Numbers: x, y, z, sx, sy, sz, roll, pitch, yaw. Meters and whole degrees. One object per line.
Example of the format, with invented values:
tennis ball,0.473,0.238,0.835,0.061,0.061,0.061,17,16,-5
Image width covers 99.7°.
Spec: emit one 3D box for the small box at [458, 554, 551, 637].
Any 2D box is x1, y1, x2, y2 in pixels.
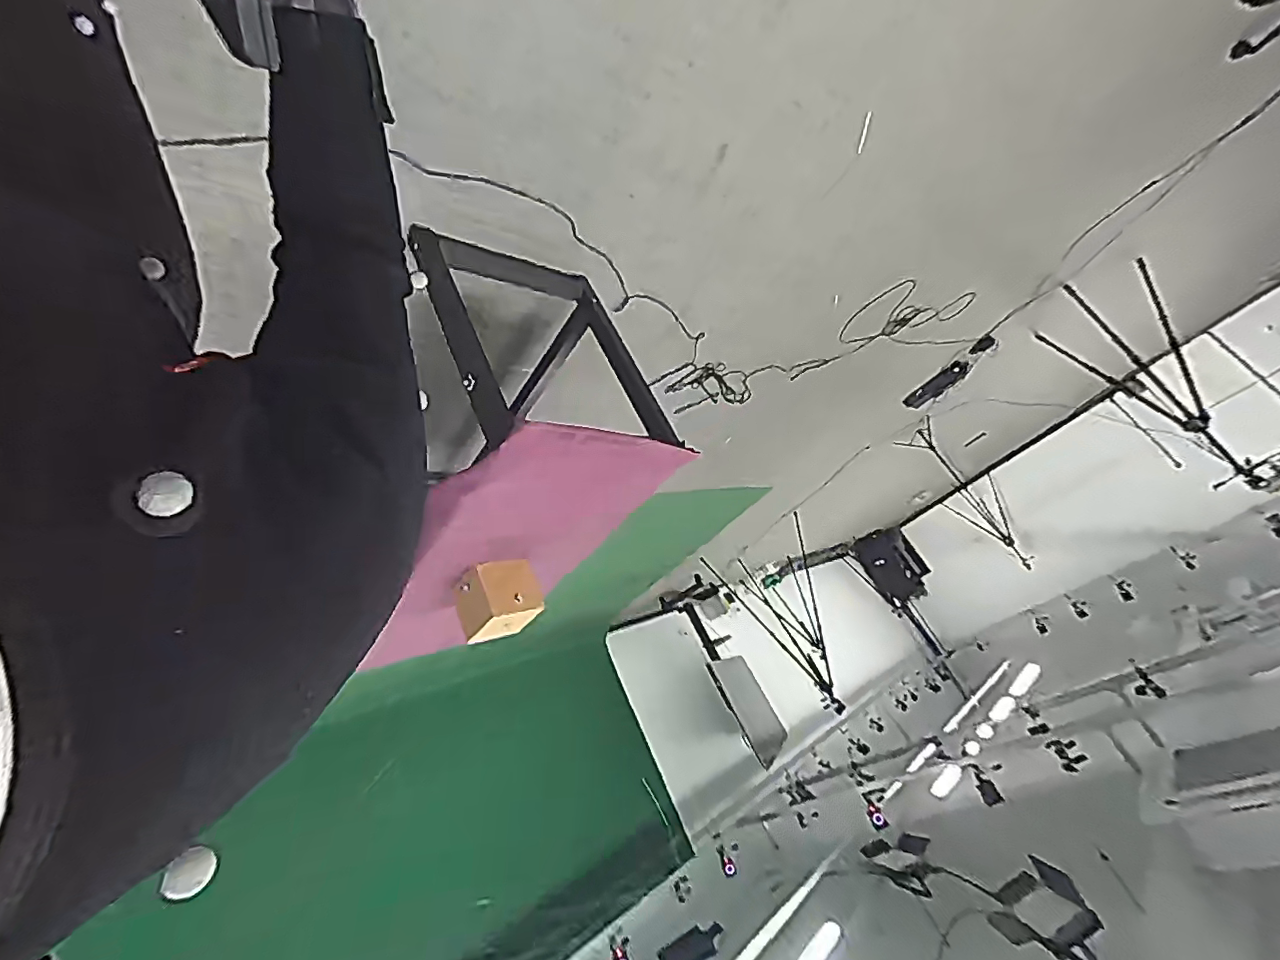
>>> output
small box,-0.393,0.326,1.561,0.179,0.176,0.168,1,143,-48
